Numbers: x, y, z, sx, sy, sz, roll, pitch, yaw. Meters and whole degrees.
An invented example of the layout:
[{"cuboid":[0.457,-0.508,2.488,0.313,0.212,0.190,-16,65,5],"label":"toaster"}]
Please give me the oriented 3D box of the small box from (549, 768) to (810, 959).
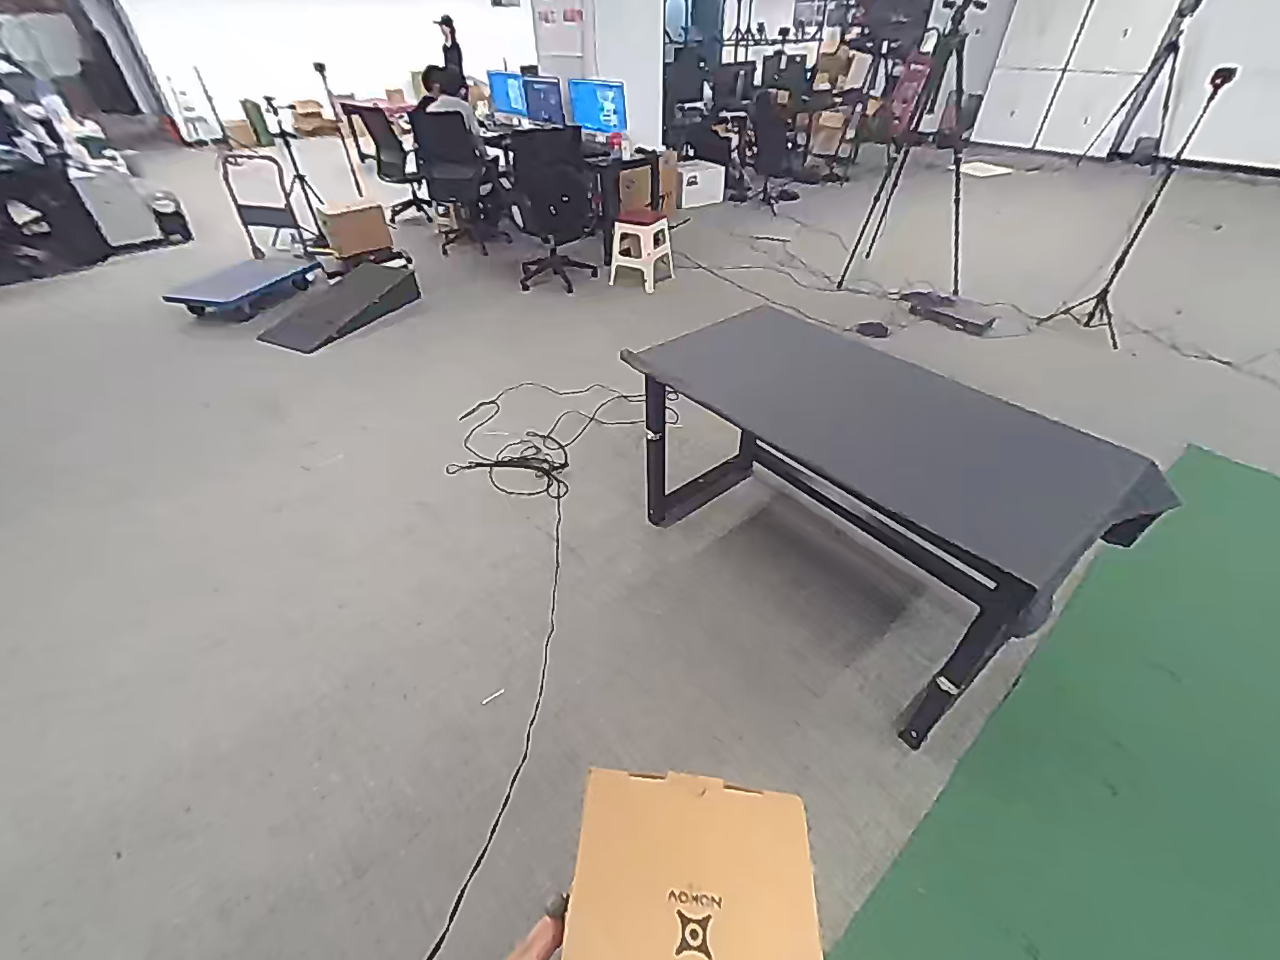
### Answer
[{"cuboid":[0.021,0.349,0.402,0.168,0.176,0.179,8,39,0],"label":"small box"}]
